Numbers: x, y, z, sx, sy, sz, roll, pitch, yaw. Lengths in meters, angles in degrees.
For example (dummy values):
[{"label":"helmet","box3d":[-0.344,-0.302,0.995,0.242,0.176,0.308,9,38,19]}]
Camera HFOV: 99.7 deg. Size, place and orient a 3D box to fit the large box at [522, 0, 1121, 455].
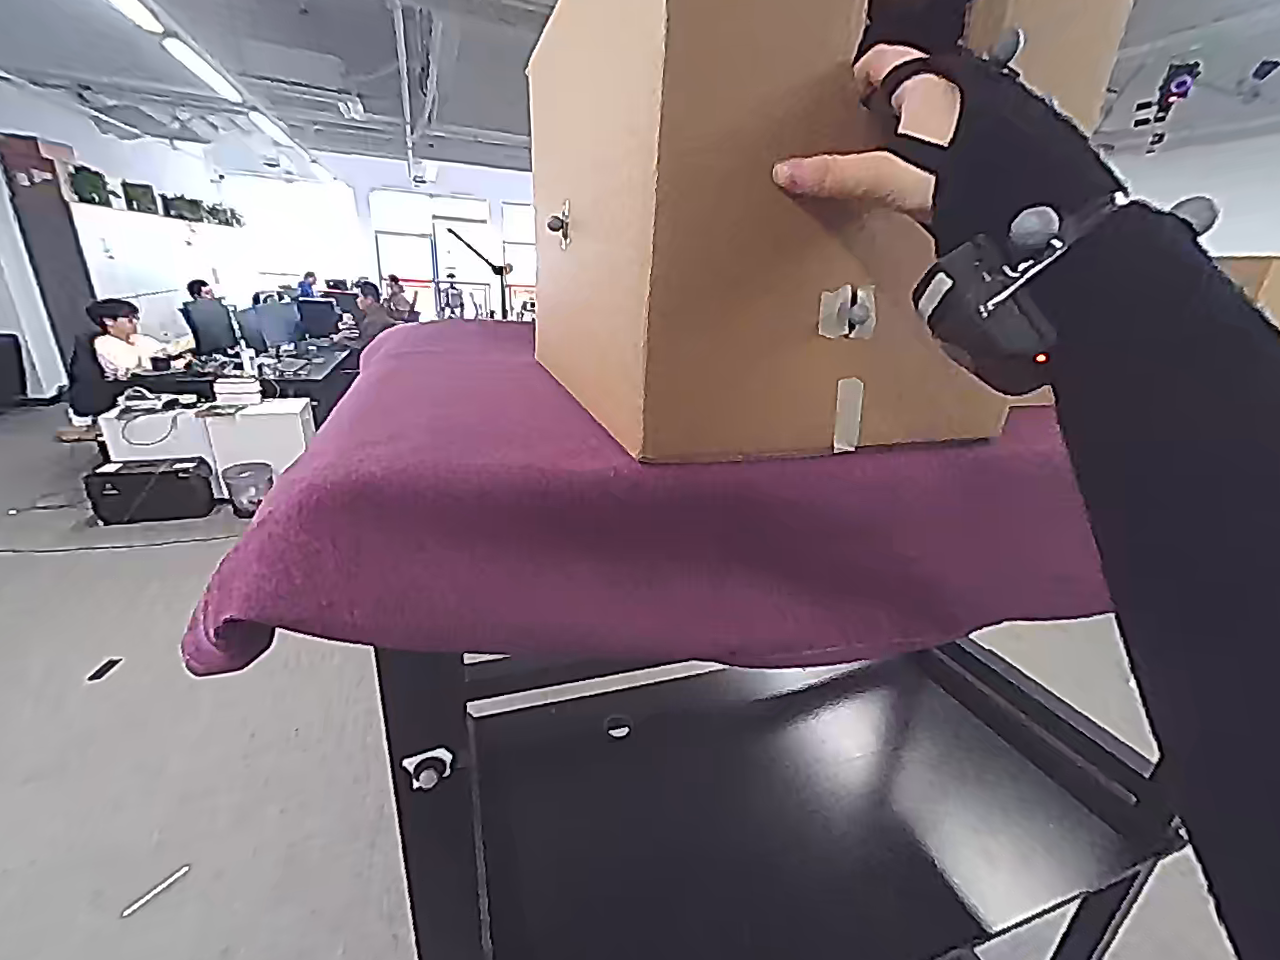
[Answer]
[{"label":"large box","box3d":[0.084,-0.233,0.491,0.320,0.320,0.408,-4,21,-19]}]
